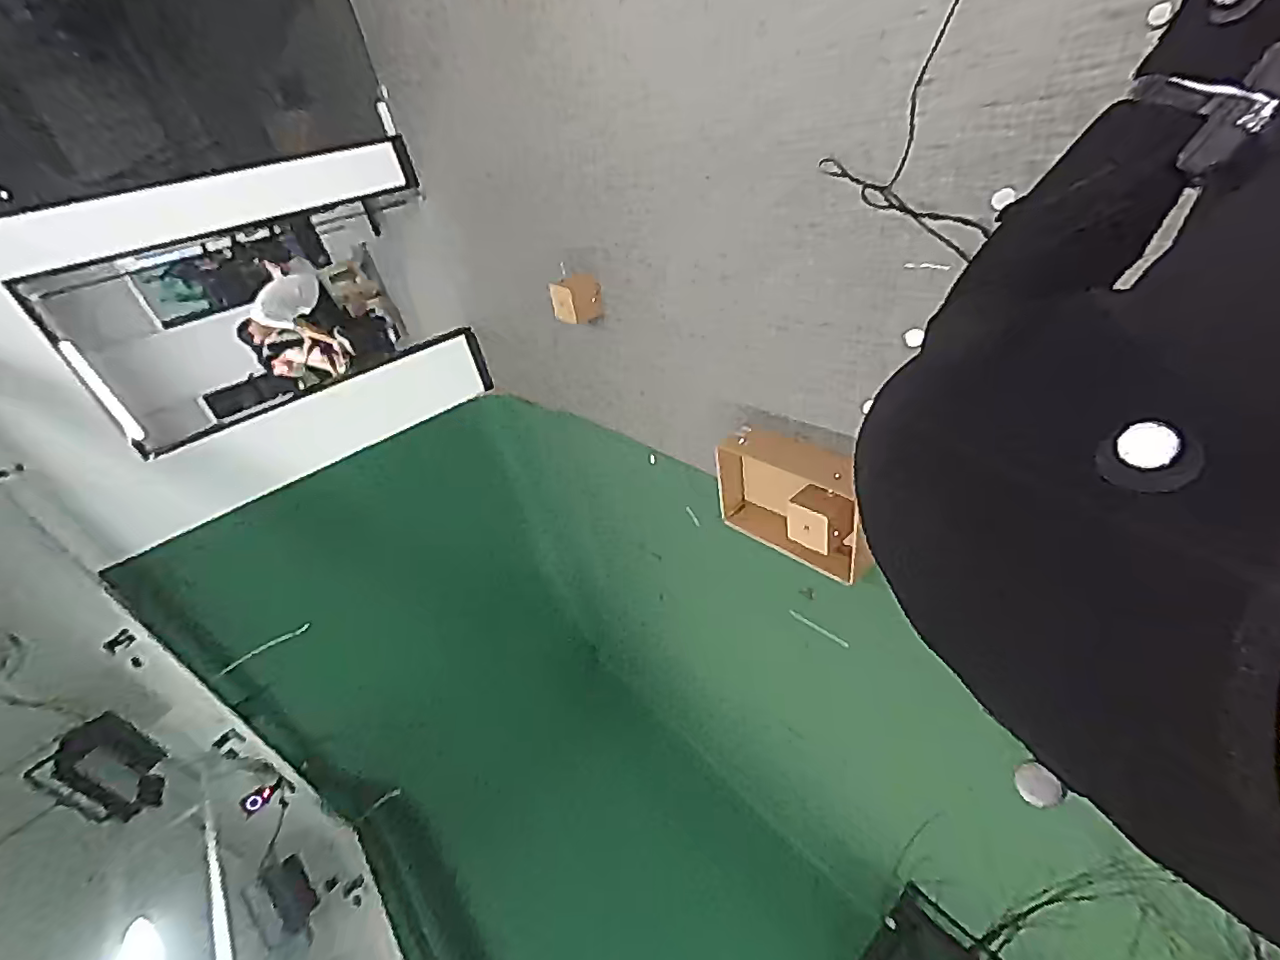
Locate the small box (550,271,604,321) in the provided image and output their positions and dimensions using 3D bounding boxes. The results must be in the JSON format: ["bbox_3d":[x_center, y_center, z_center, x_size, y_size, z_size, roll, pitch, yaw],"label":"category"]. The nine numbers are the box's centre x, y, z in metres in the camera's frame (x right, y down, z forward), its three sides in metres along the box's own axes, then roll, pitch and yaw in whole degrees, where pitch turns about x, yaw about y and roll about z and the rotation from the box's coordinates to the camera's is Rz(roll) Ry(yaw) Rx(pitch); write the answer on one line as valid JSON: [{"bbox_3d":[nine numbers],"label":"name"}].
[{"bbox_3d":[-0.293,-0.868,2.538,0.179,0.176,0.168,31,143,39],"label":"small box"}]
